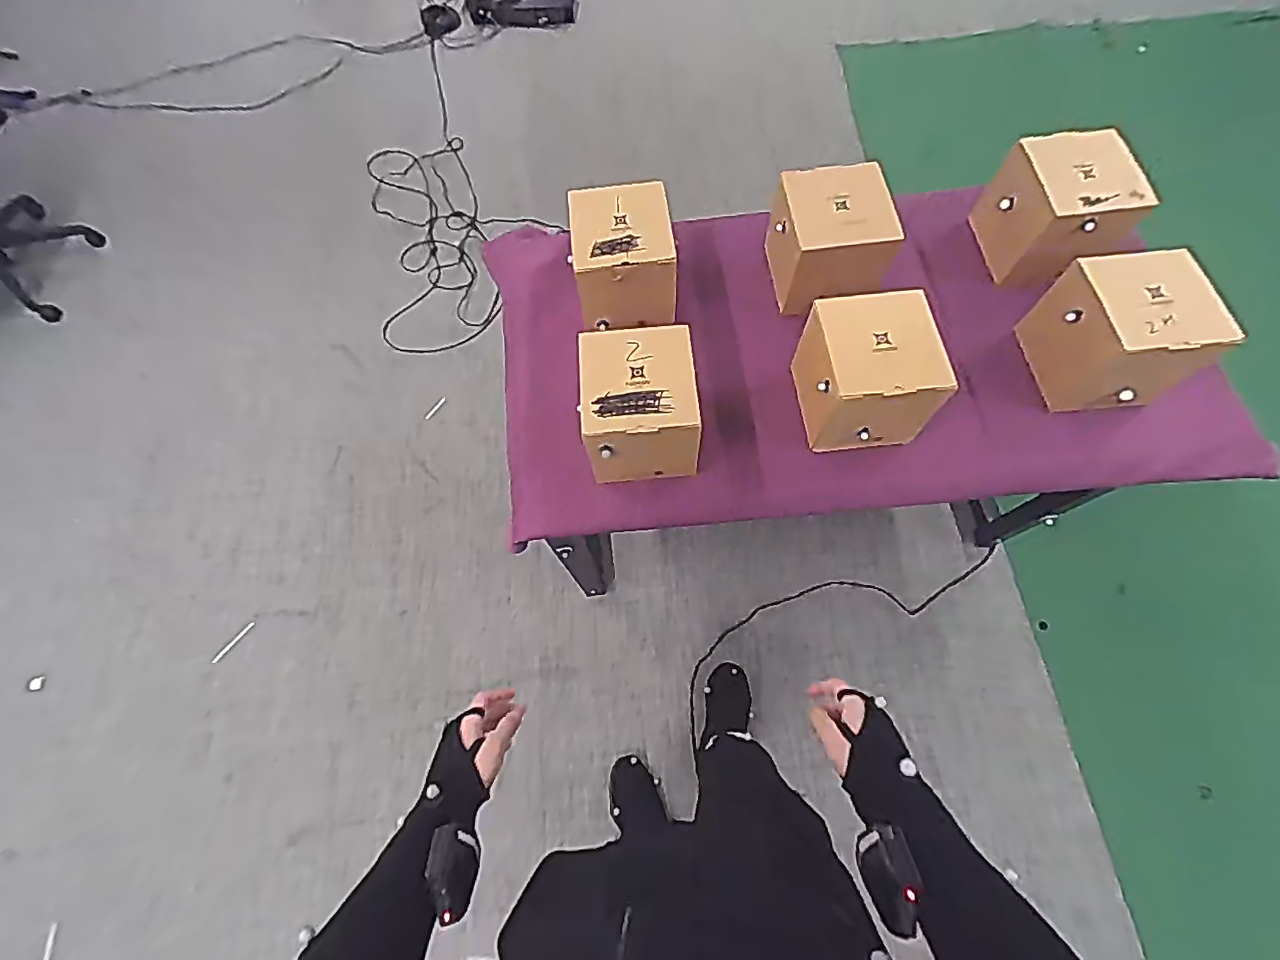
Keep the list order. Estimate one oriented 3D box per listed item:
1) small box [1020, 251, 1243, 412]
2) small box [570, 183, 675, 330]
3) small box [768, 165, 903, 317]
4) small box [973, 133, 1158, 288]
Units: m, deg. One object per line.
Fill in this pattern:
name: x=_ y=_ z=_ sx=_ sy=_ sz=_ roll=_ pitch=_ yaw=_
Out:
small box: x=0.748 y=-0.228 z=0.851 sx=0.168 sy=0.176 sz=0.179 roll=-5 pitch=66 yaw=2
small box: x=-0.027 y=-0.383 z=0.955 sx=0.168 sy=0.176 sz=0.179 roll=-6 pitch=67 yaw=0
small box: x=0.330 y=-0.416 z=0.954 sx=0.168 sy=0.176 sz=0.179 roll=-6 pitch=68 yaw=1
small box: x=0.729 y=-0.469 z=0.953 sx=0.168 sy=0.176 sz=0.179 roll=-6 pitch=68 yaw=1
